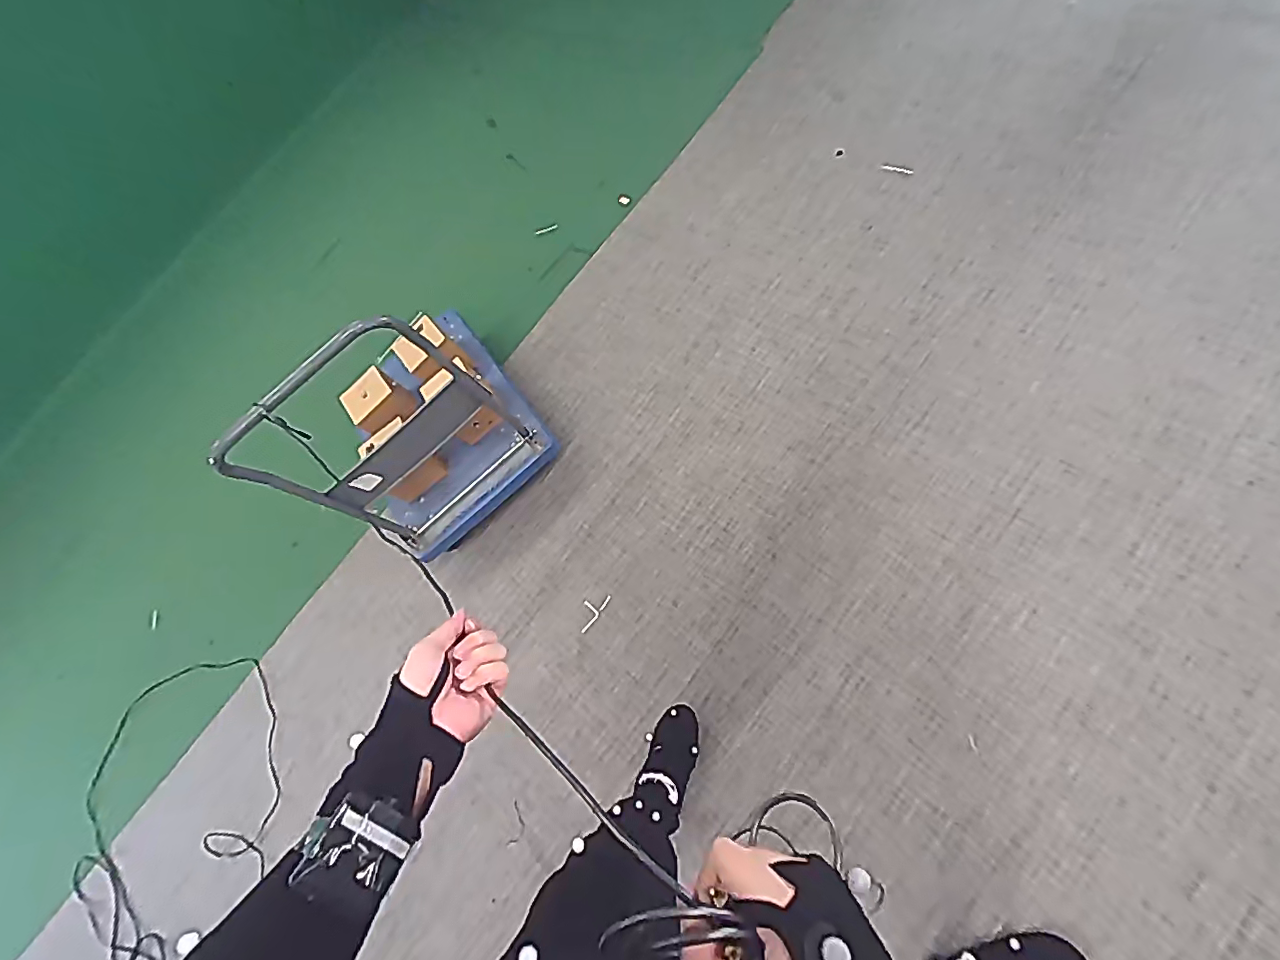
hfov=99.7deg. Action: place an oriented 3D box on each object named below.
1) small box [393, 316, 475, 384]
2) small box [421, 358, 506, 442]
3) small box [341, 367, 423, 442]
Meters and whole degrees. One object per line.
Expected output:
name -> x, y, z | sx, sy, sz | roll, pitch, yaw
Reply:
small box -> -0.720, -0.432, 1.898 | 0.168, 0.176, 0.179 | -45, 59, 1
small box -> -0.571, -0.254, 1.759 | 0.168, 0.176, 0.179 | -40, 59, 2
small box -> -0.899, -0.257, 1.897 | 0.168, 0.176, 0.179 | -44, 59, -1
